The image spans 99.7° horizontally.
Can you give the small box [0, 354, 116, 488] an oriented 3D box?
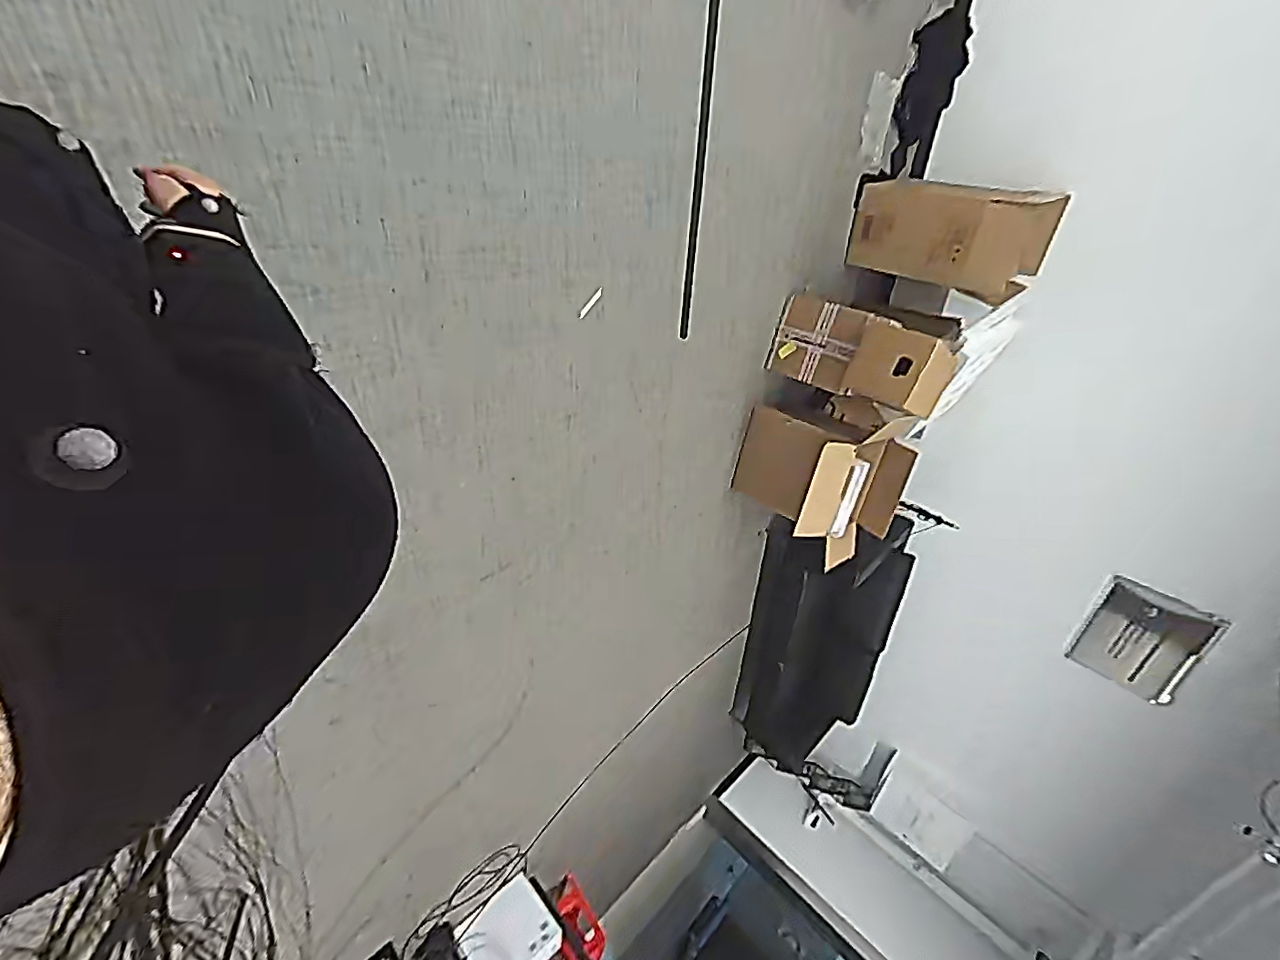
[{"bbox_3d":[-1.110,-0.118,0.982,0.168,0.176,0.179,-28,133,-35],"label":"small box"}]
